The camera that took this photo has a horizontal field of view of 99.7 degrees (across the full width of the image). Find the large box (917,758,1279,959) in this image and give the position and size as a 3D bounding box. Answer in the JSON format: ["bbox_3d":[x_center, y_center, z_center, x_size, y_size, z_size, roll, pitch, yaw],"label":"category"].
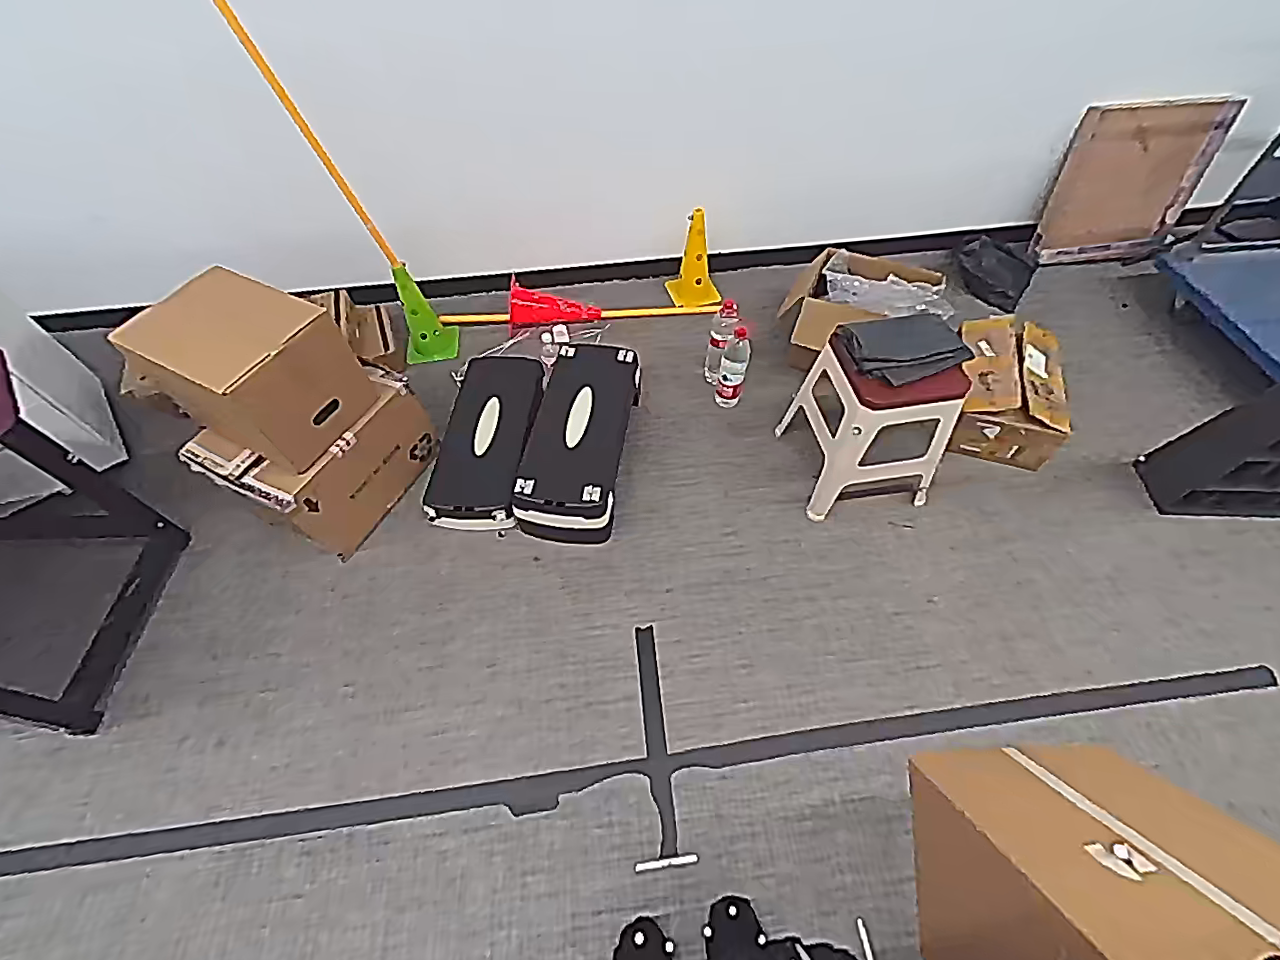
[{"bbox_3d":[0.591,0.593,0.657,0.320,0.408,0.320,-3,89,1],"label":"large box"}]
